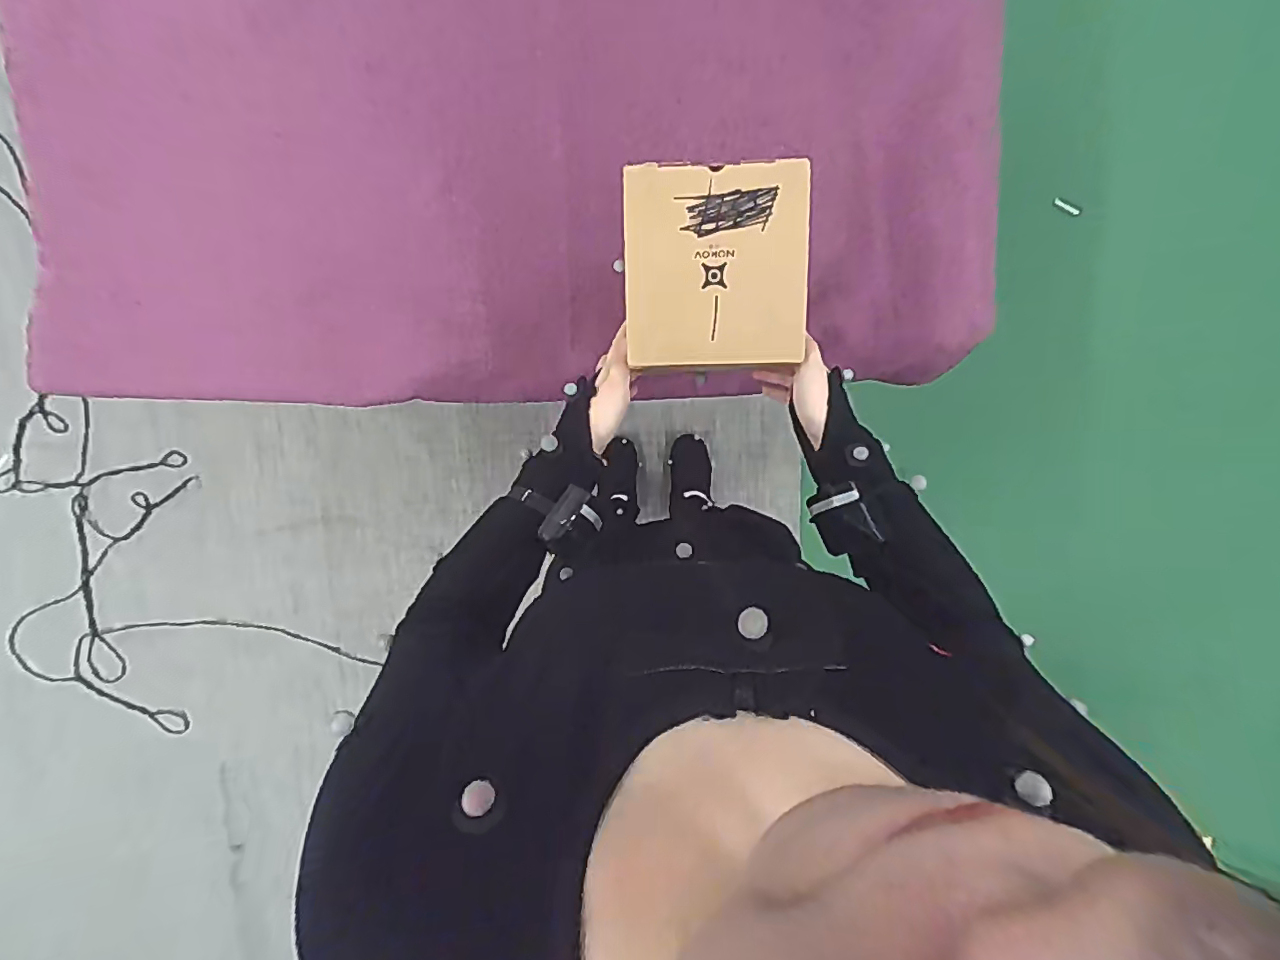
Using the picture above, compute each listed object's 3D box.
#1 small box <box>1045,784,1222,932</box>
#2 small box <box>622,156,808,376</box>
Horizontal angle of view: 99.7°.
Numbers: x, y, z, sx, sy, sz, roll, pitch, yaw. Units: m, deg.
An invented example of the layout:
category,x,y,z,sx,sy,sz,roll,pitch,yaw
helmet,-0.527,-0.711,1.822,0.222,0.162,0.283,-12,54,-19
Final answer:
category,x,y,z,sx,sy,sz,roll,pitch,yaw
small box,0.925,0.708,1.029,0.179,0.176,0.168,-1,98,0
small box,0.068,-0.202,0.557,0.168,0.176,0.179,-1,98,4
